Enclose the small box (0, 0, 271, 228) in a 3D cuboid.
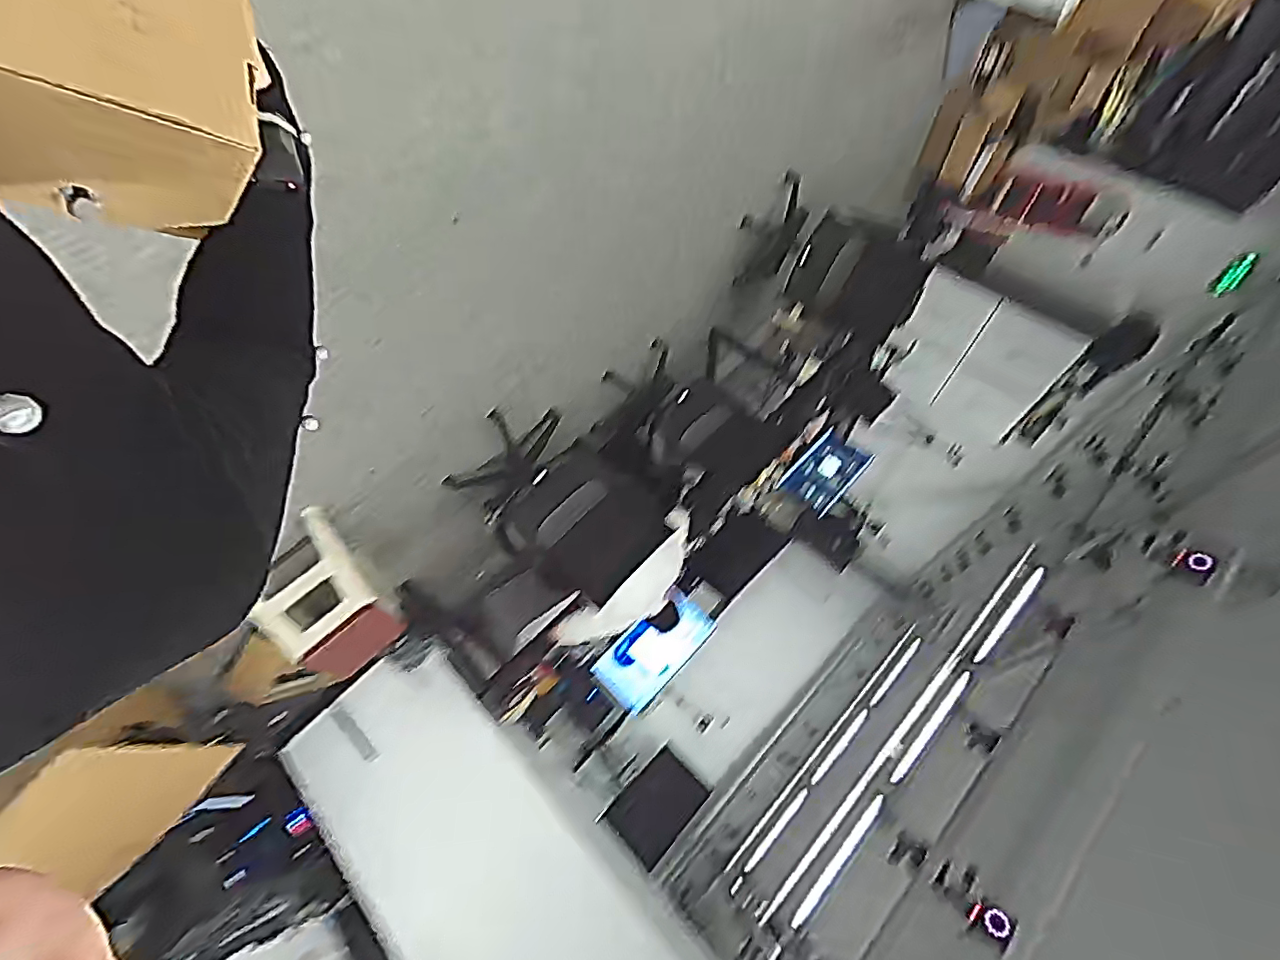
[{"bbox_3d":[-0.388,-0.300,0.376,0.179,0.176,0.168,-8,91,-46],"label":"small box"}]
